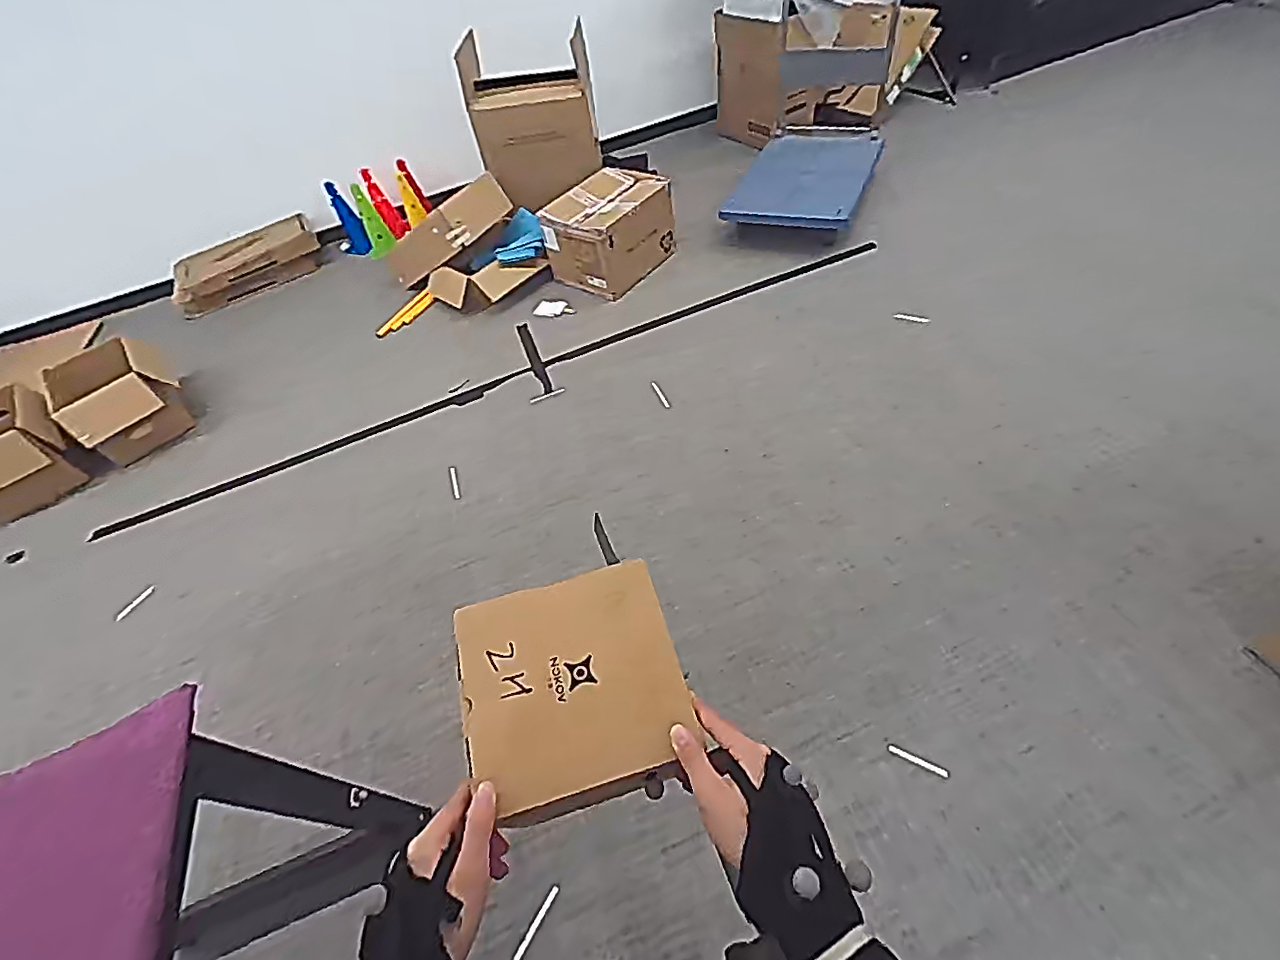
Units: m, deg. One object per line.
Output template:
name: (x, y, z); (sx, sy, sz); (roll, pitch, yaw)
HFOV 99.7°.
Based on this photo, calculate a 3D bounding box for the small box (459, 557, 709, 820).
small box: (-0.050, 0.196, 0.501); (0.179, 0.176, 0.168); (-15, 57, -7)
